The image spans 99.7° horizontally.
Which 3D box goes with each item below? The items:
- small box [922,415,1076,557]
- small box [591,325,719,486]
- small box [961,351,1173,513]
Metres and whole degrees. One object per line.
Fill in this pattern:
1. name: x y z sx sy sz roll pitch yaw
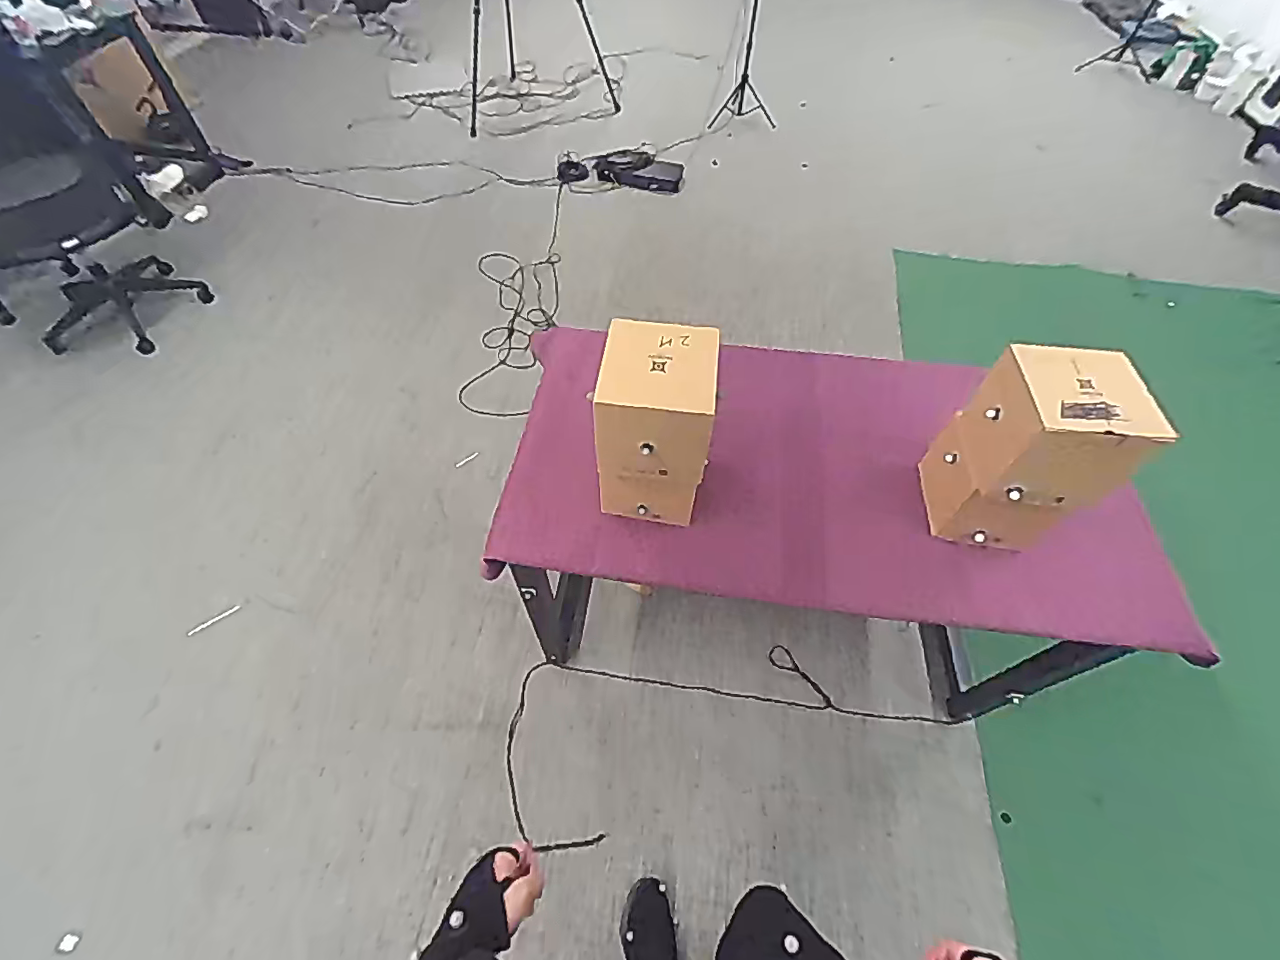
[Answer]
1. small box: 0.622 0.012 0.959 0.168 0.176 0.179 8 55 6
2. small box: 0.026 -0.110 0.833 0.168 0.176 0.179 7 55 3
3. small box: 0.619 -0.069 0.815 0.168 0.176 0.179 6 53 5
